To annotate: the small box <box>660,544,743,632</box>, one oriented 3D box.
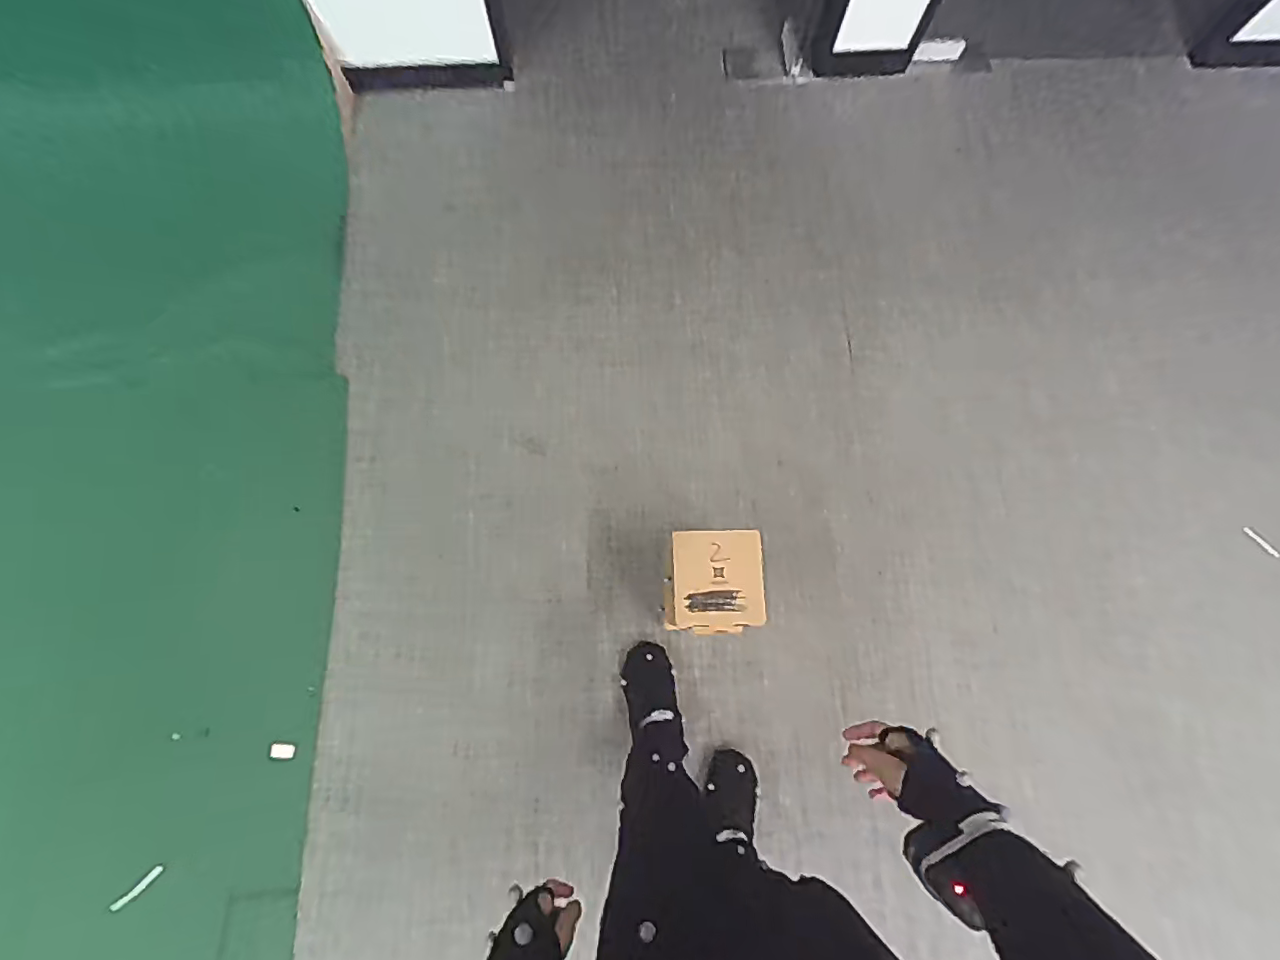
[{"bbox_3d":[0.134,0.248,1.234,0.168,0.176,0.179,4,77,0],"label":"small box"}]
